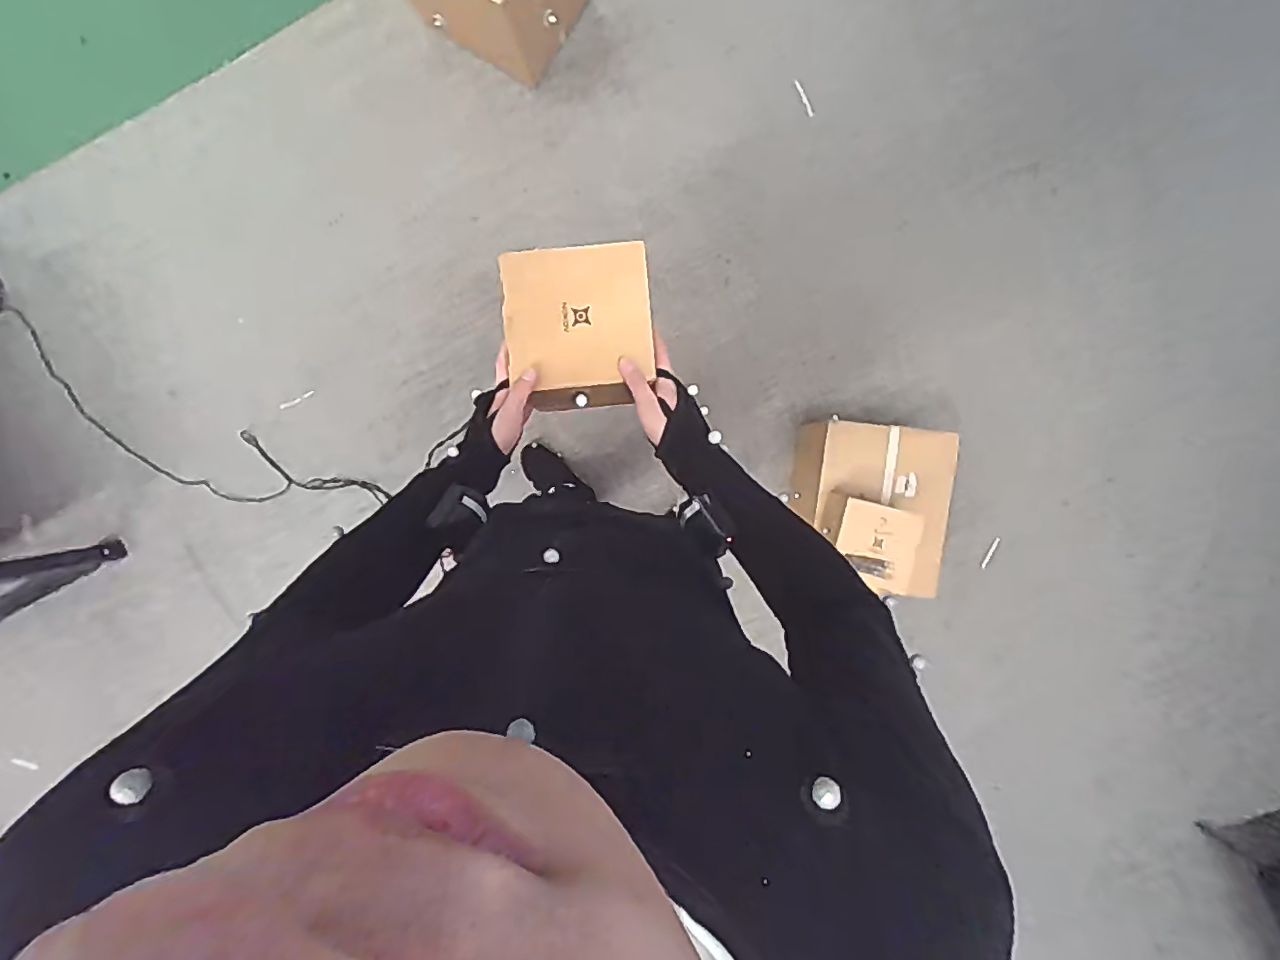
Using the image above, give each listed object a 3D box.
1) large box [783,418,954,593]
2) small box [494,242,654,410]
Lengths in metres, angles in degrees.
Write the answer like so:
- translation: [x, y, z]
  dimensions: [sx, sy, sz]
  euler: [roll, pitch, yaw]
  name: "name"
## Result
- translation: [0.582, 0.057, 1.445]
  dimensions: [0.320, 0.320, 0.408]
  euler: [7, 93, 2]
  name: "large box"
- translation: [-0.076, -0.189, 0.709]
  dimensions: [0.179, 0.176, 0.168]
  euler: [-6, 90, 3]
  name: "small box"
